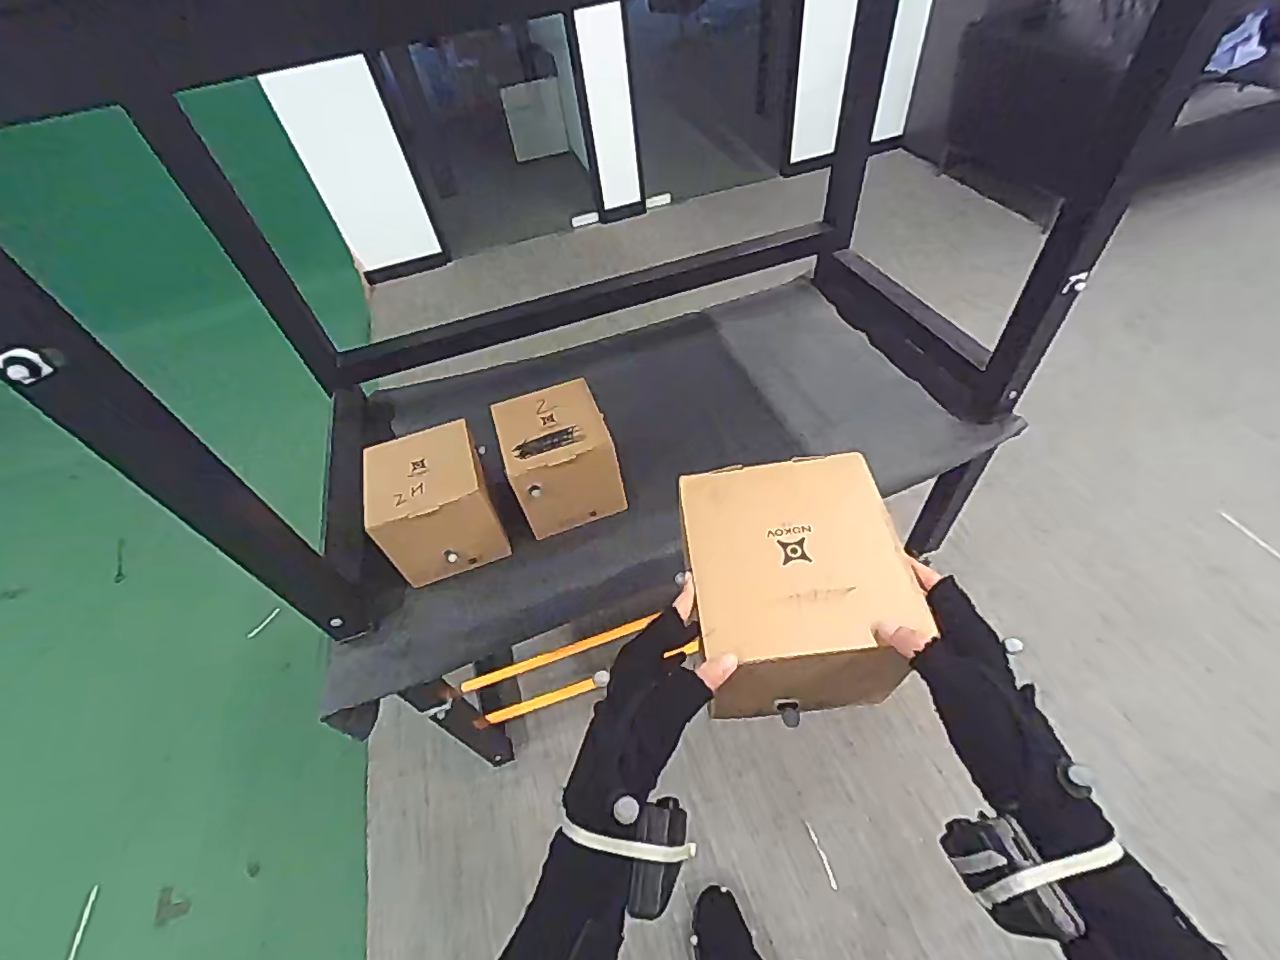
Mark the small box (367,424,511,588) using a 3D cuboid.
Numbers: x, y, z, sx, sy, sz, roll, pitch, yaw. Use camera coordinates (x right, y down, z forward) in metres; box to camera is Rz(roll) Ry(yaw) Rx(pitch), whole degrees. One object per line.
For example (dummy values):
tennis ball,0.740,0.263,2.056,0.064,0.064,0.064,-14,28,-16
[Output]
small box,-0.323,0.043,0.879,0.168,0.176,0.179,-19,50,-8
